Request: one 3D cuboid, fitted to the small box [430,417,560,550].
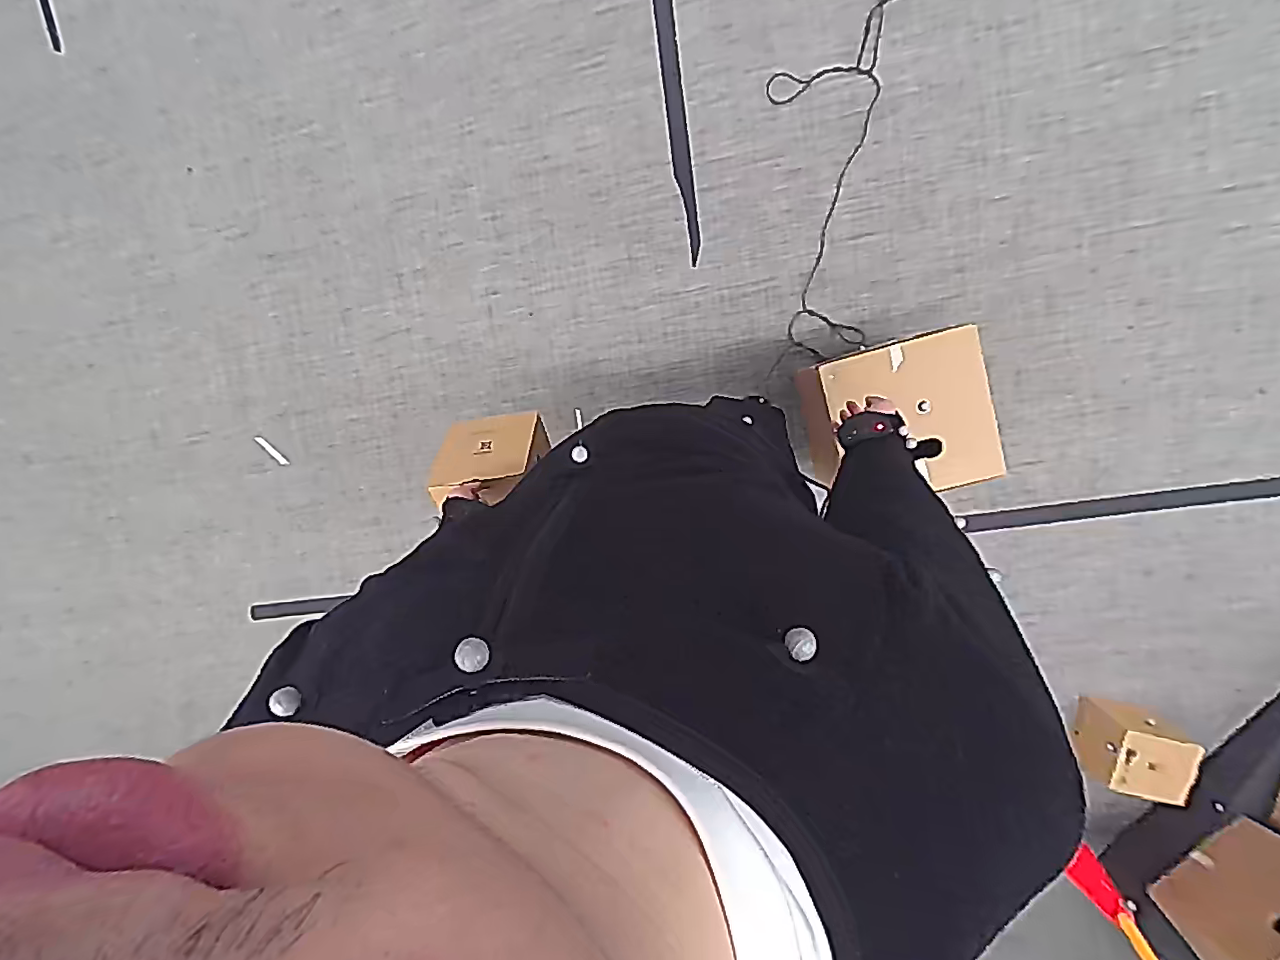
[{"bbox_3d":[-0.250,0.012,0.983,0.168,0.179,0.176,-7,132,6],"label":"small box"}]
